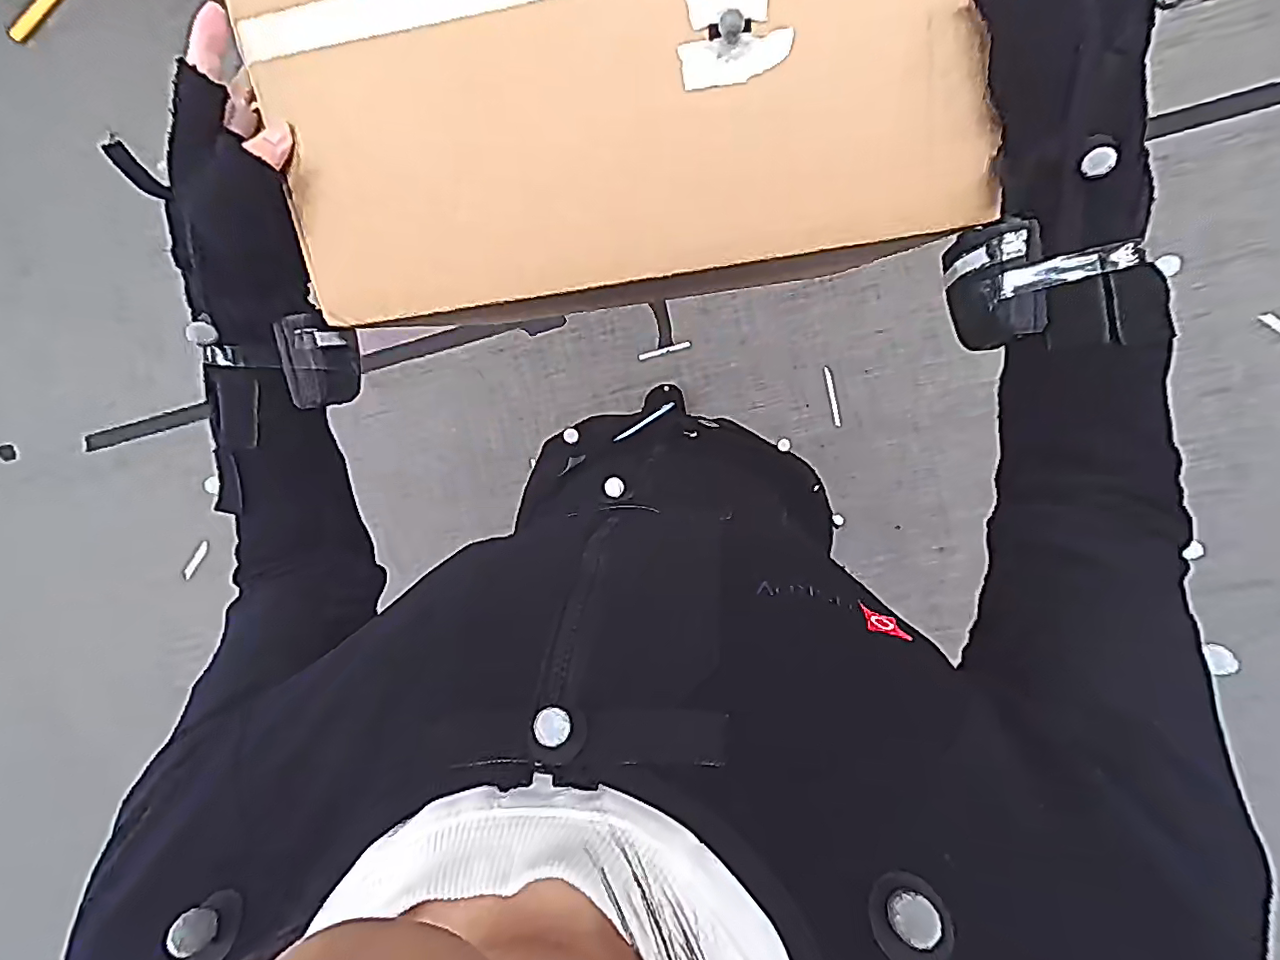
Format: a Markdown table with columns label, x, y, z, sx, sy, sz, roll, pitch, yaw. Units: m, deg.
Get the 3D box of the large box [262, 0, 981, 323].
| label | x | y | z | sx | sy | sz | roll | pitch | yaw |
| --- | --- | --- | --- | --- | --- | --- | --- | --- | --- |
| large box | -0.011 | -0.317 | 0.441 | 0.408 | 0.320 | 0.320 | -7 | 106 | 6 |
